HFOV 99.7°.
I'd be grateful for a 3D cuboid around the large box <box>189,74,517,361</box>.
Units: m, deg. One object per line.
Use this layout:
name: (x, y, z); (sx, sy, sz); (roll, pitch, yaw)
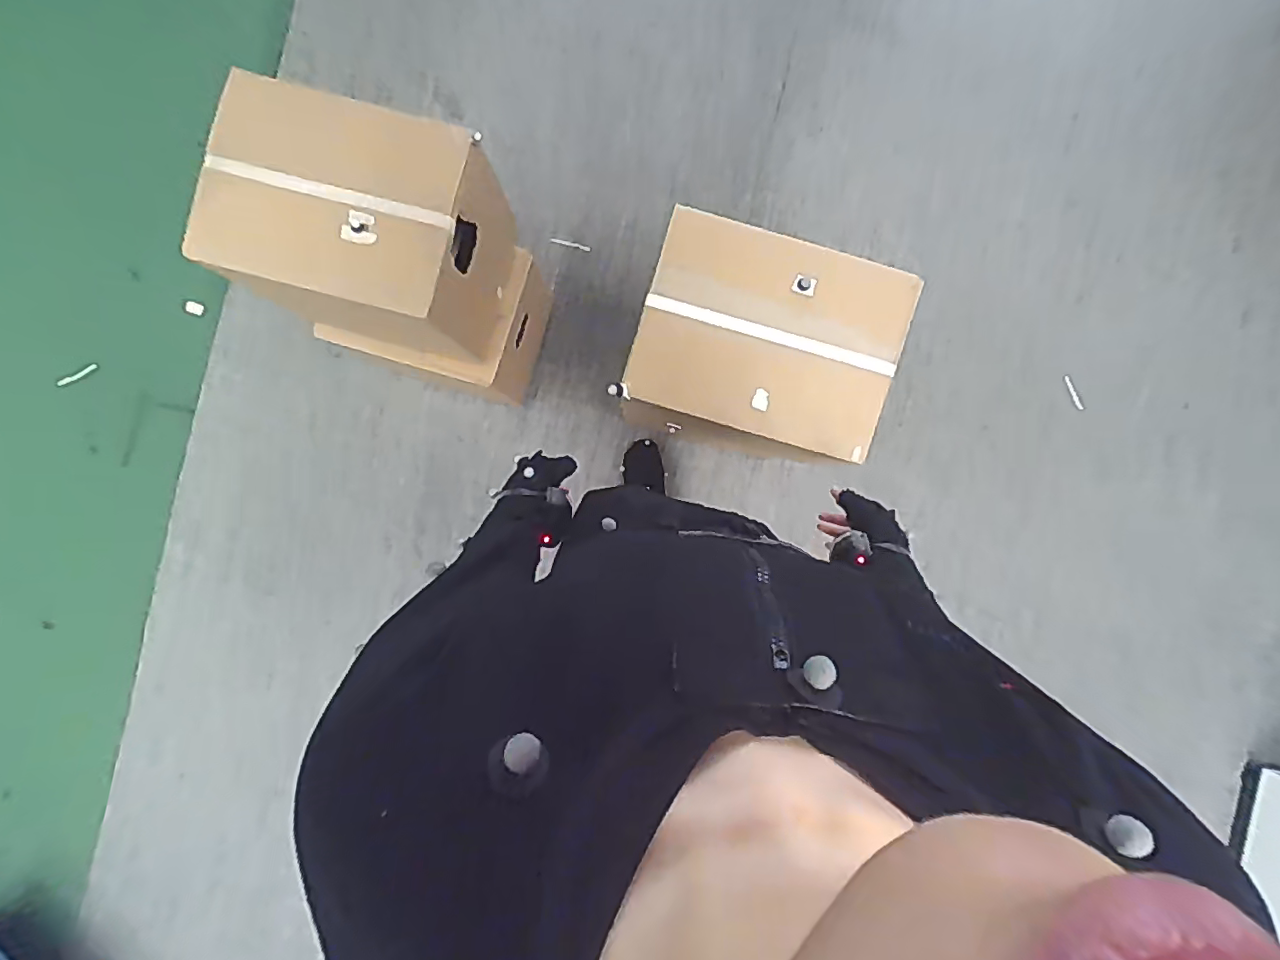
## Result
large box: (-0.486, -0.449, 1.005); (0.408, 0.320, 0.320); (15, 88, -1)
